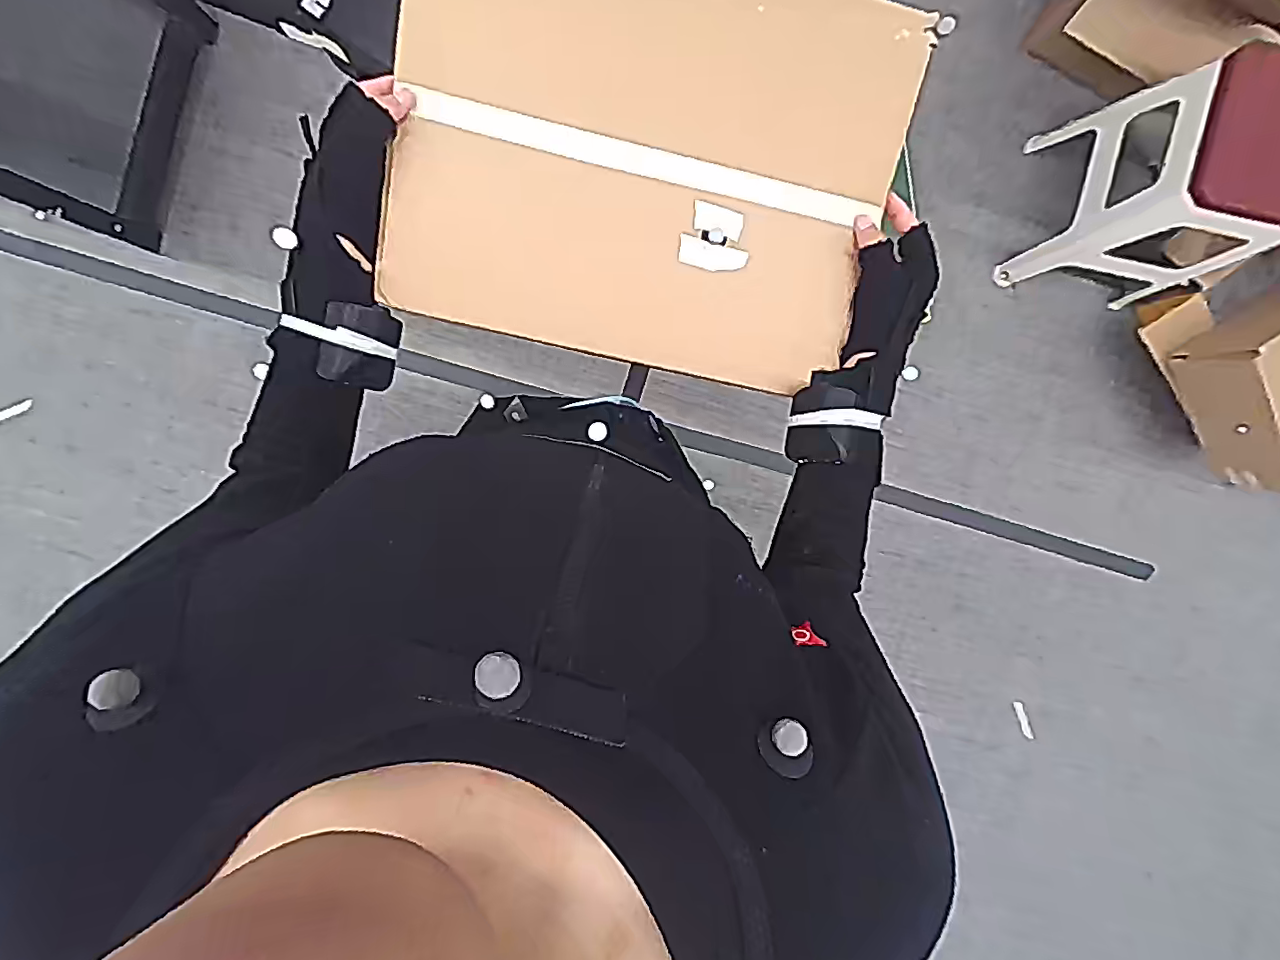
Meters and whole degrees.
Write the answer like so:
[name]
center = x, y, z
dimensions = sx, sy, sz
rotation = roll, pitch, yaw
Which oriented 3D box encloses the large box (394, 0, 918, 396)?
[large box]
center = -0.003, -0.290, 0.600
dimensions = 0.408, 0.320, 0.320
rotation = 11, 102, -7
